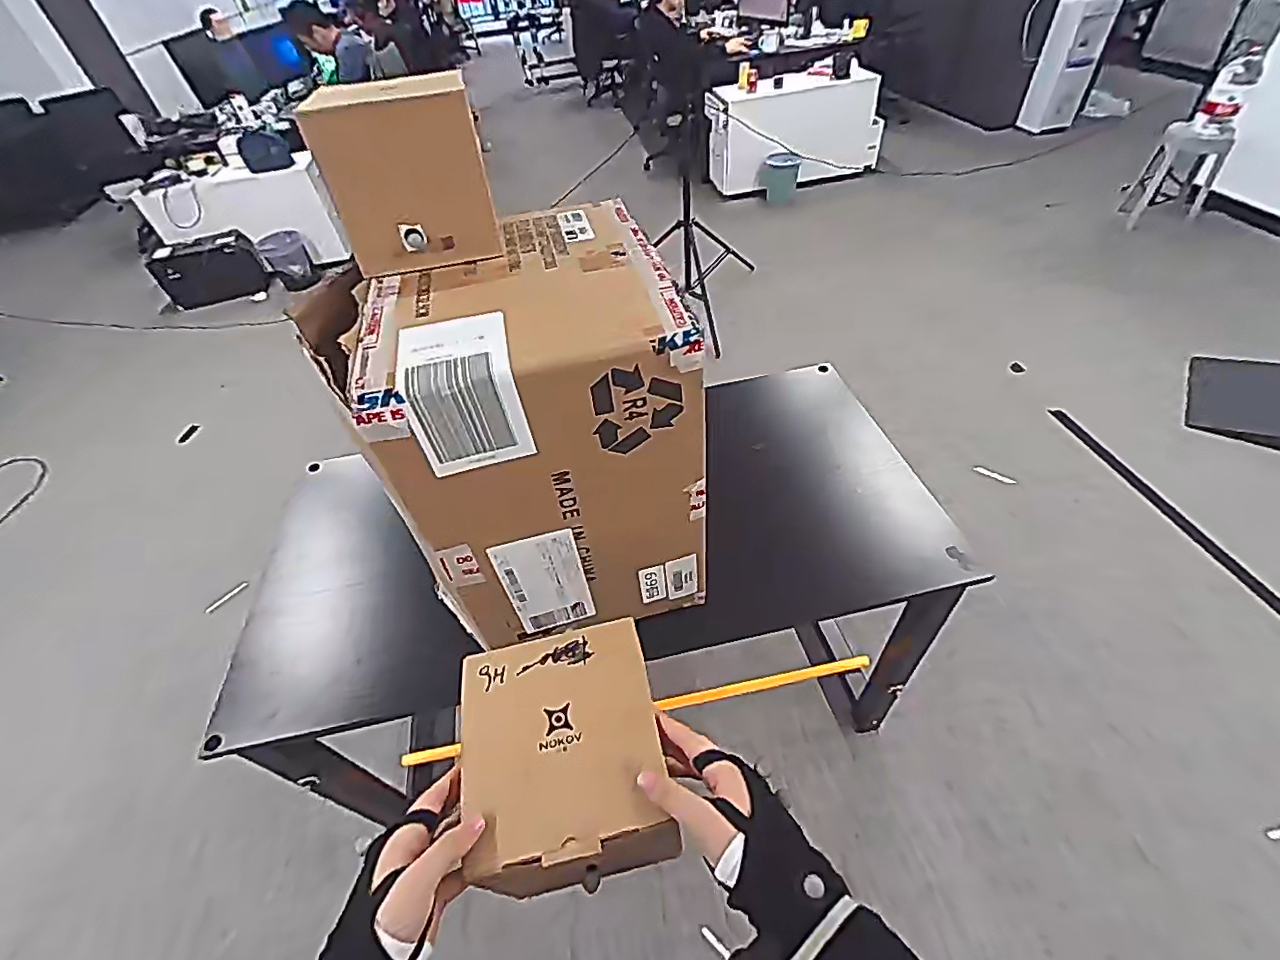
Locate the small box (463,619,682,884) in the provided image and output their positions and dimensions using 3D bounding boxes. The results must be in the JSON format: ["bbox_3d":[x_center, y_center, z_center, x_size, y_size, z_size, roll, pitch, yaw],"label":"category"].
[{"bbox_3d":[-0.059,0.263,0.516,0.168,0.176,0.179,-13,49,-4],"label":"small box"}]

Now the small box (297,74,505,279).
[{"bbox_3d":[-0.267,-0.361,0.643,0.168,0.176,0.179,-15,45,-8],"label":"small box"}]
